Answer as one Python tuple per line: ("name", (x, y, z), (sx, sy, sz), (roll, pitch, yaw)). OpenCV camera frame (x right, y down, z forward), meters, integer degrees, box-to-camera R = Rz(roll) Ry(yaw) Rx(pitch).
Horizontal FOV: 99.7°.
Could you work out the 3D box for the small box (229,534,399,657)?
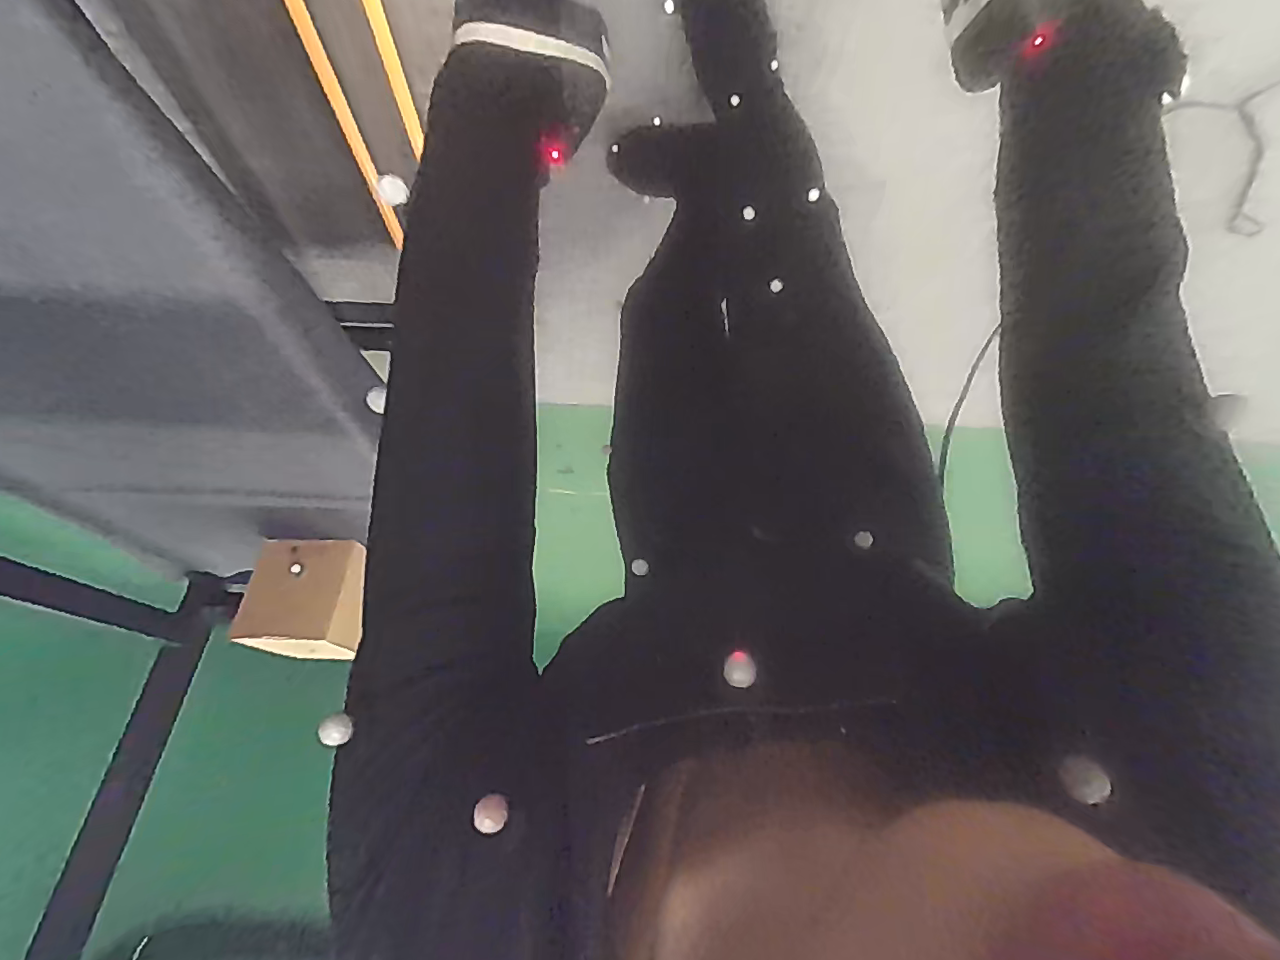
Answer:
("small box", (-0.551, 0.205, 0.946), (0.168, 0.176, 0.179), (0, 152, 6))
